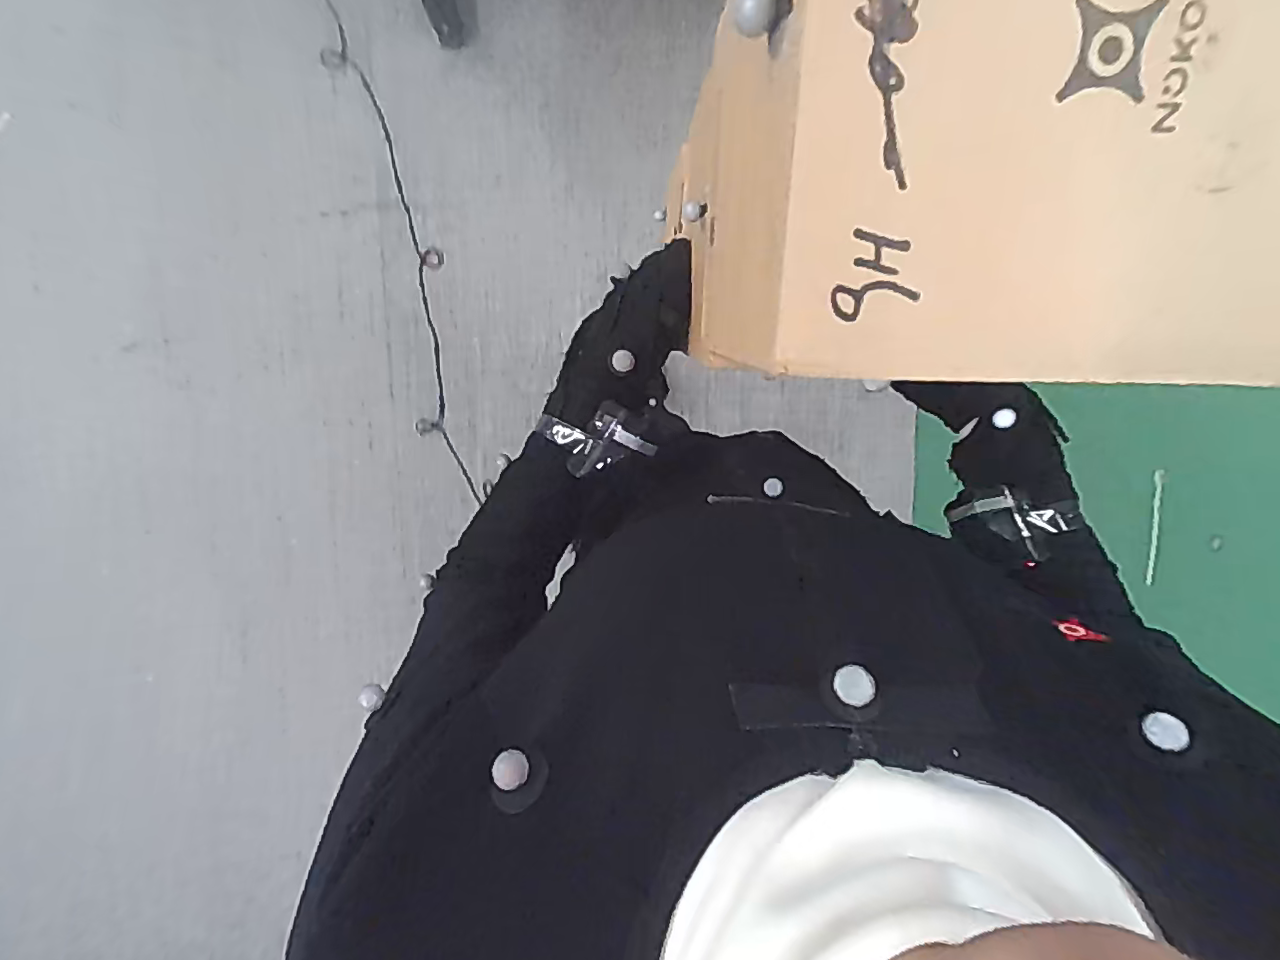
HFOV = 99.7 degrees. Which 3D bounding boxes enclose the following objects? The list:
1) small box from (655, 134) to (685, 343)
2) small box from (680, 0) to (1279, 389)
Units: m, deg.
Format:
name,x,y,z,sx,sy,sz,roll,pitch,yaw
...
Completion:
name,x,y,z,sx,sy,sz,roll,pitch,yaw
small box,0.109,-0.214,0.532,0.179,0.176,0.168,4,106,-3
small box,0.115,-0.133,0.217,0.179,0.176,0.168,2,106,-1
